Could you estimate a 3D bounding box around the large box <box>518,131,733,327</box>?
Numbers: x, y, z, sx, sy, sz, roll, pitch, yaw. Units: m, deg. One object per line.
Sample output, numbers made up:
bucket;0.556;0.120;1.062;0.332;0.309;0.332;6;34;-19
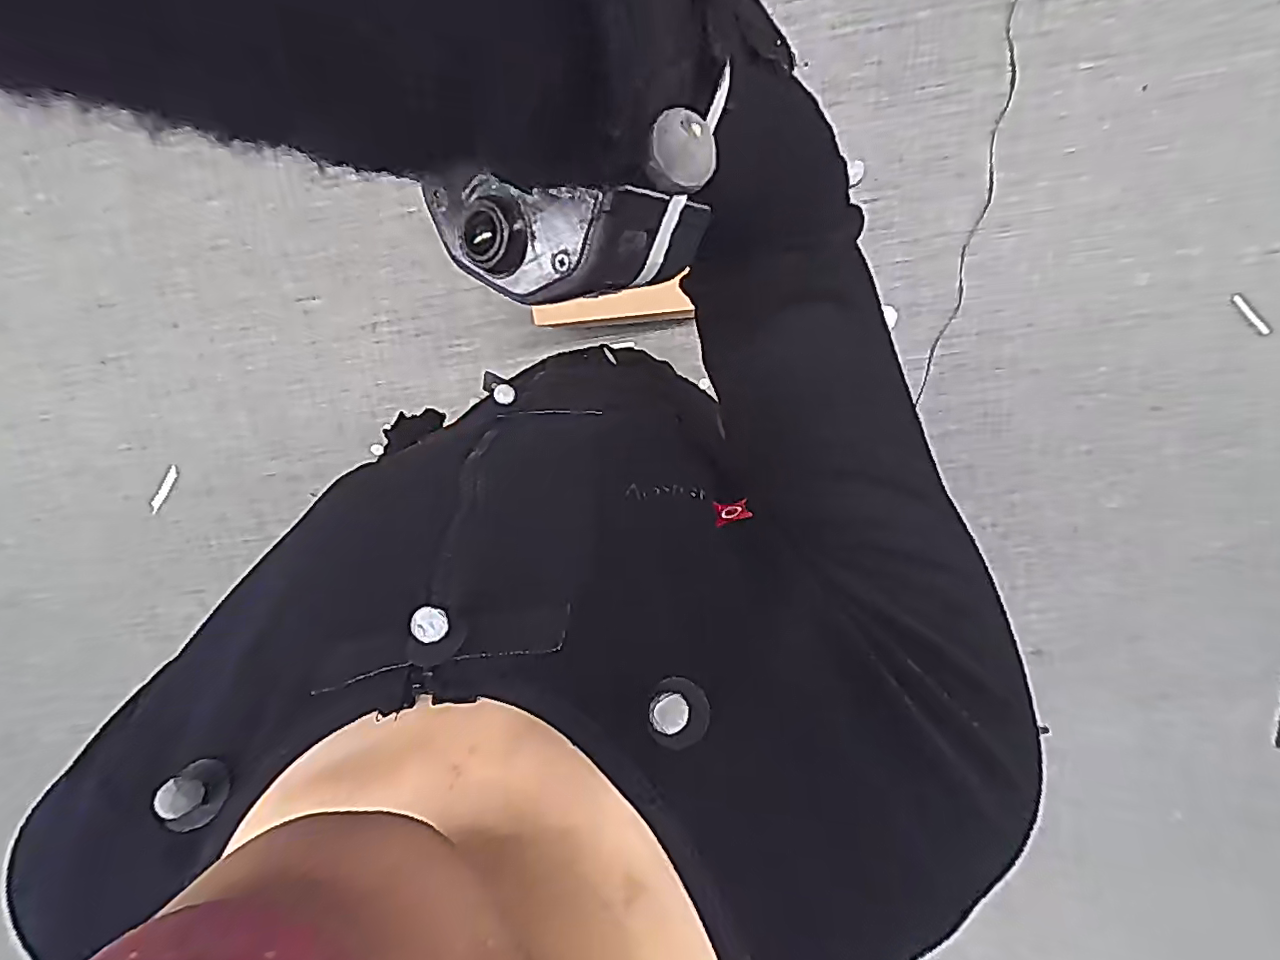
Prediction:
large box;-0.023;-0.530;1.215;0.408;0.320;0.320;-5;104;2
